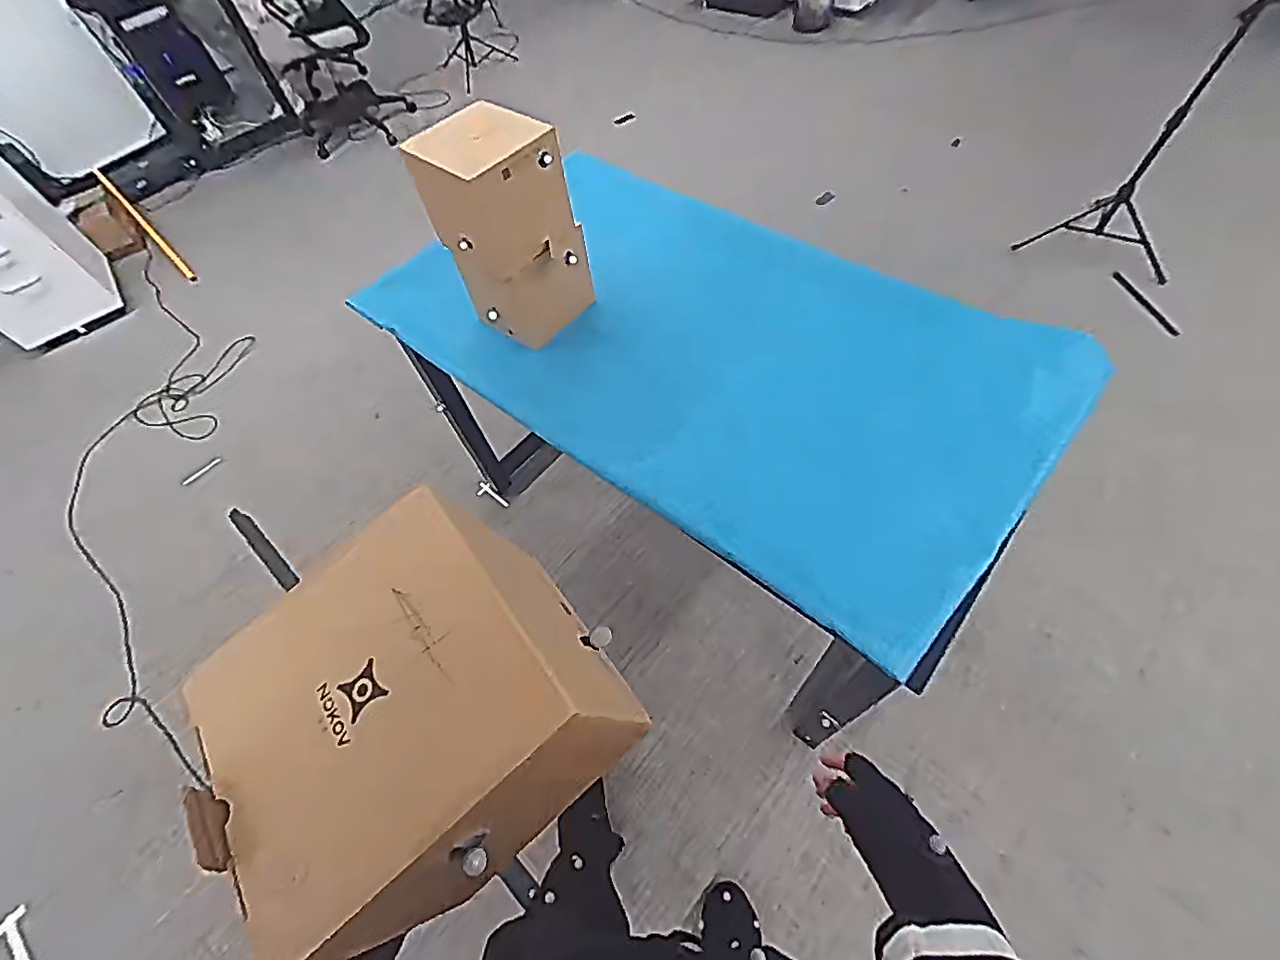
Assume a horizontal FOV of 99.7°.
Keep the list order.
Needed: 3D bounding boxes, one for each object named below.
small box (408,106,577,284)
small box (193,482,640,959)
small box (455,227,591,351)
[{"bbox_3d":[-0.231,-0.455,0.861,0.179,0.176,0.168,35,68,24],"label":"small box"},{"bbox_3d":[-0.126,0.140,0.350,0.179,0.176,0.168,-40,61,-5],"label":"small box"},{"bbox_3d":[-0.209,-0.378,1.008,0.168,0.176,0.179,36,71,26],"label":"small box"}]
